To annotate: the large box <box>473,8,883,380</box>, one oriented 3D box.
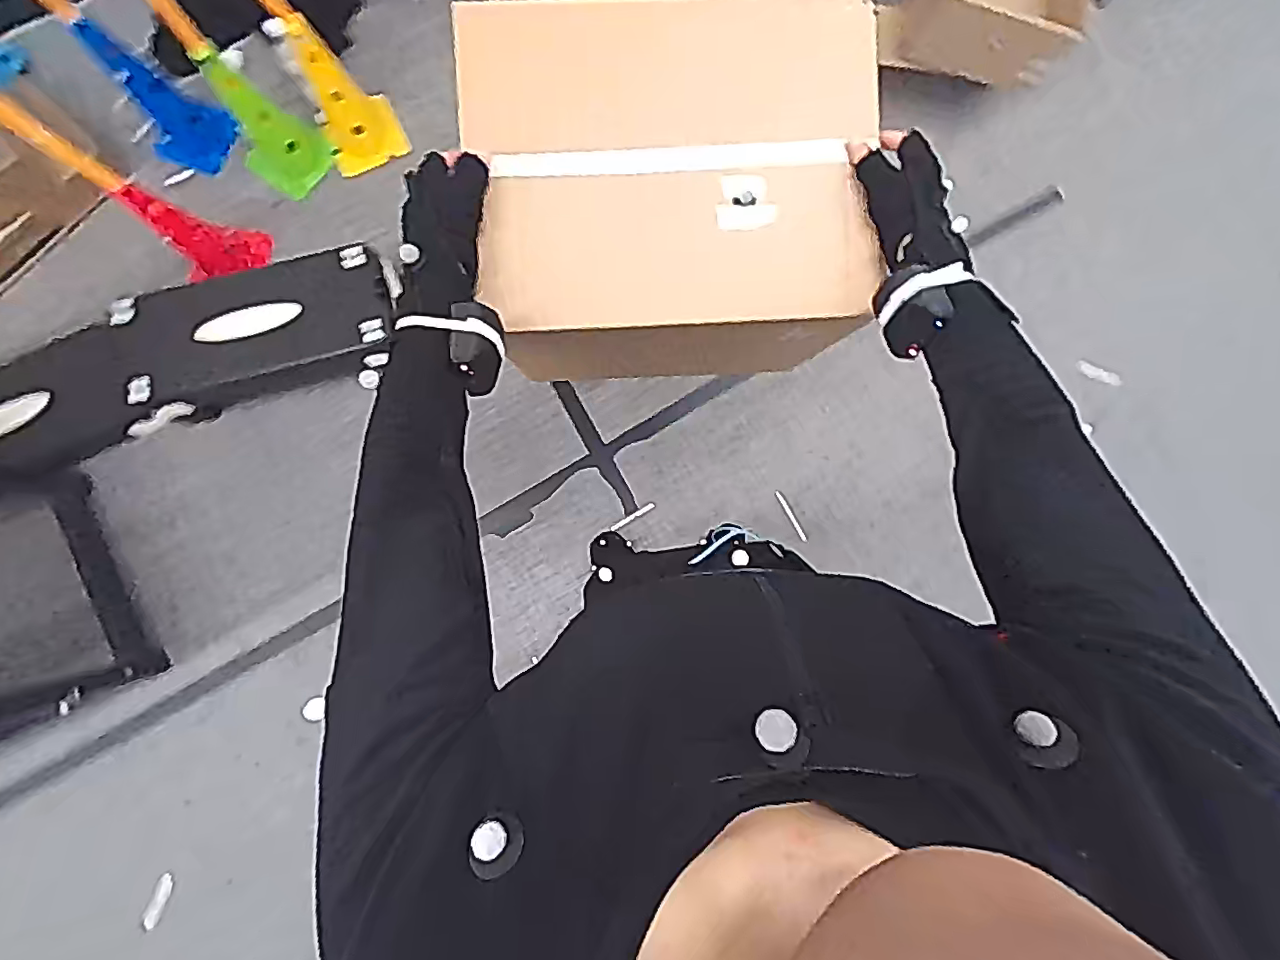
[{"bbox_3d":[0.035,-0.313,0.686,0.408,0.320,0.320,-2,92,-2],"label":"large box"}]
